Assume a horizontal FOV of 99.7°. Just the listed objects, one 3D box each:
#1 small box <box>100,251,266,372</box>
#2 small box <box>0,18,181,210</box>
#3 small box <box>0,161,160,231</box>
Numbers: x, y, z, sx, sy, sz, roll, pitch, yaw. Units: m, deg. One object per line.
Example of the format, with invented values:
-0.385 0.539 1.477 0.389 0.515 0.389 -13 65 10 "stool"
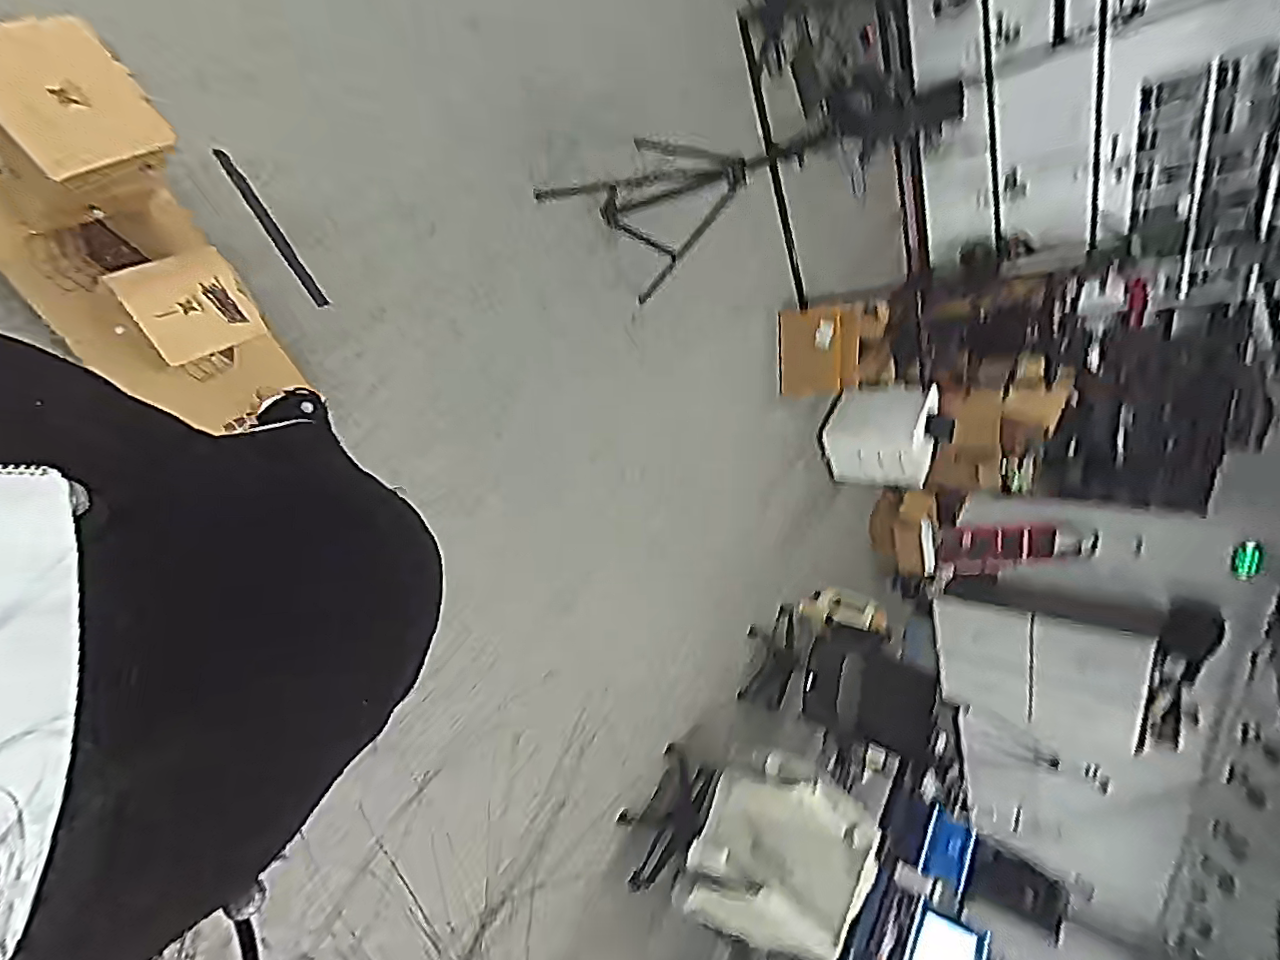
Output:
-0.868 -0.316 1.027 0.179 0.176 0.168 -42 123 -37 "small box"
-0.836 -0.522 0.787 0.179 0.176 0.168 -51 129 -32 "small box"
-0.957 -0.533 0.896 0.179 0.176 0.168 -44 125 -36 "small box"
